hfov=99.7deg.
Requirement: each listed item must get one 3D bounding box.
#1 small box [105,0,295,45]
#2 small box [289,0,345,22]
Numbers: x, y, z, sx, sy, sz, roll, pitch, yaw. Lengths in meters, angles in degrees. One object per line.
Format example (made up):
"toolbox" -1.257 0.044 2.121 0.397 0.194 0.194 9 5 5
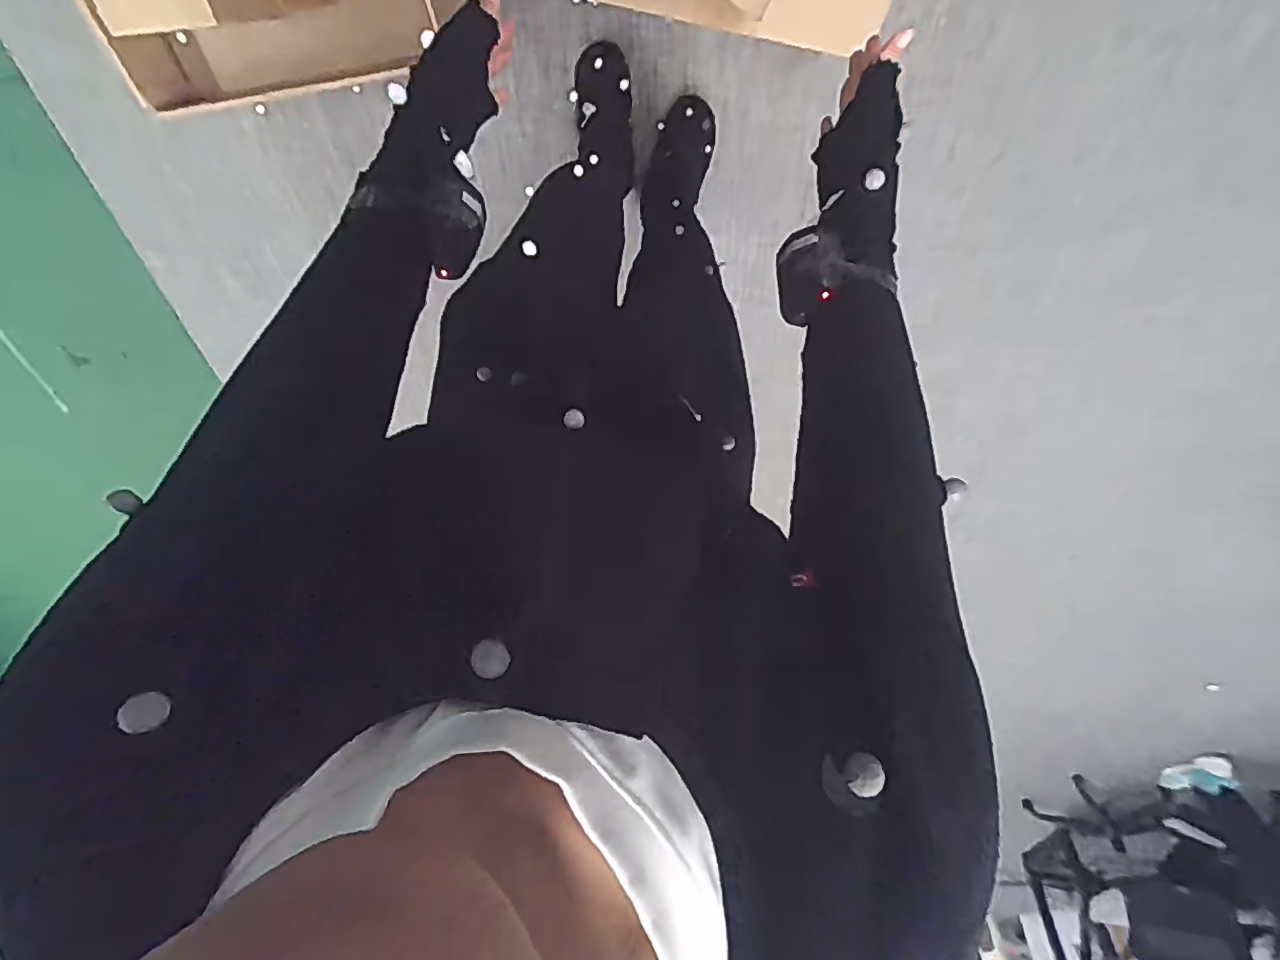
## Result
"small box" -0.655 -0.744 0.781 0.179 0.176 0.168 1 133 8
"small box" -0.637 -0.864 0.893 0.179 0.176 0.168 -2 133 9
